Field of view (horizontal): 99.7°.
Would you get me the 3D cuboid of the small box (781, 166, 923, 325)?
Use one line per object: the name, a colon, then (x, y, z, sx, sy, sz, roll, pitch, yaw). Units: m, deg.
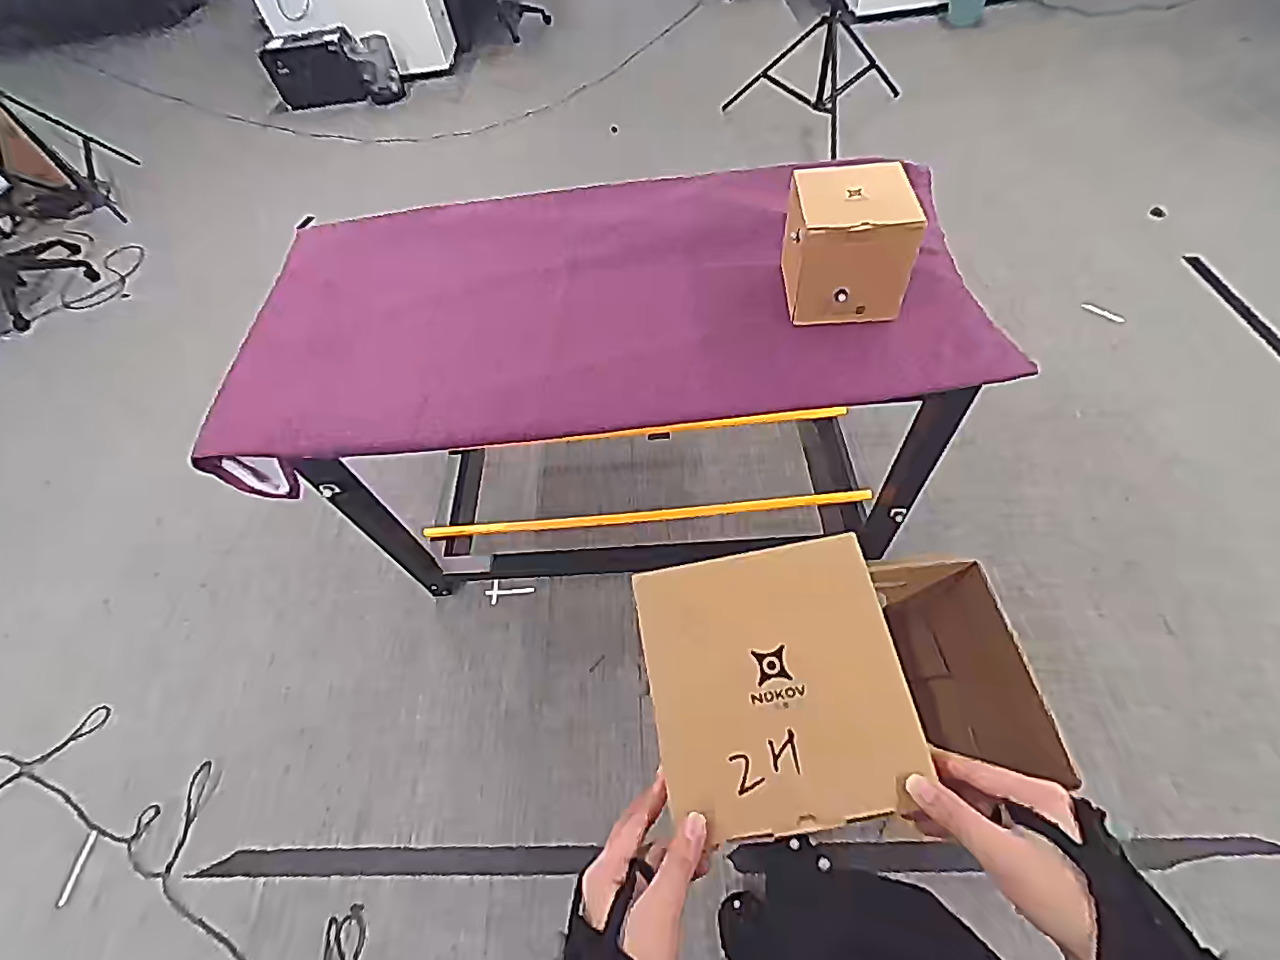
small box: (0.324, -0.372, 0.868, 0.168, 0.176, 0.179, -2, 55, 7)

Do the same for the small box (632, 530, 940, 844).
small box: (0.096, 0.160, 0.429, 0.168, 0.176, 0.179, -12, 66, 4)
